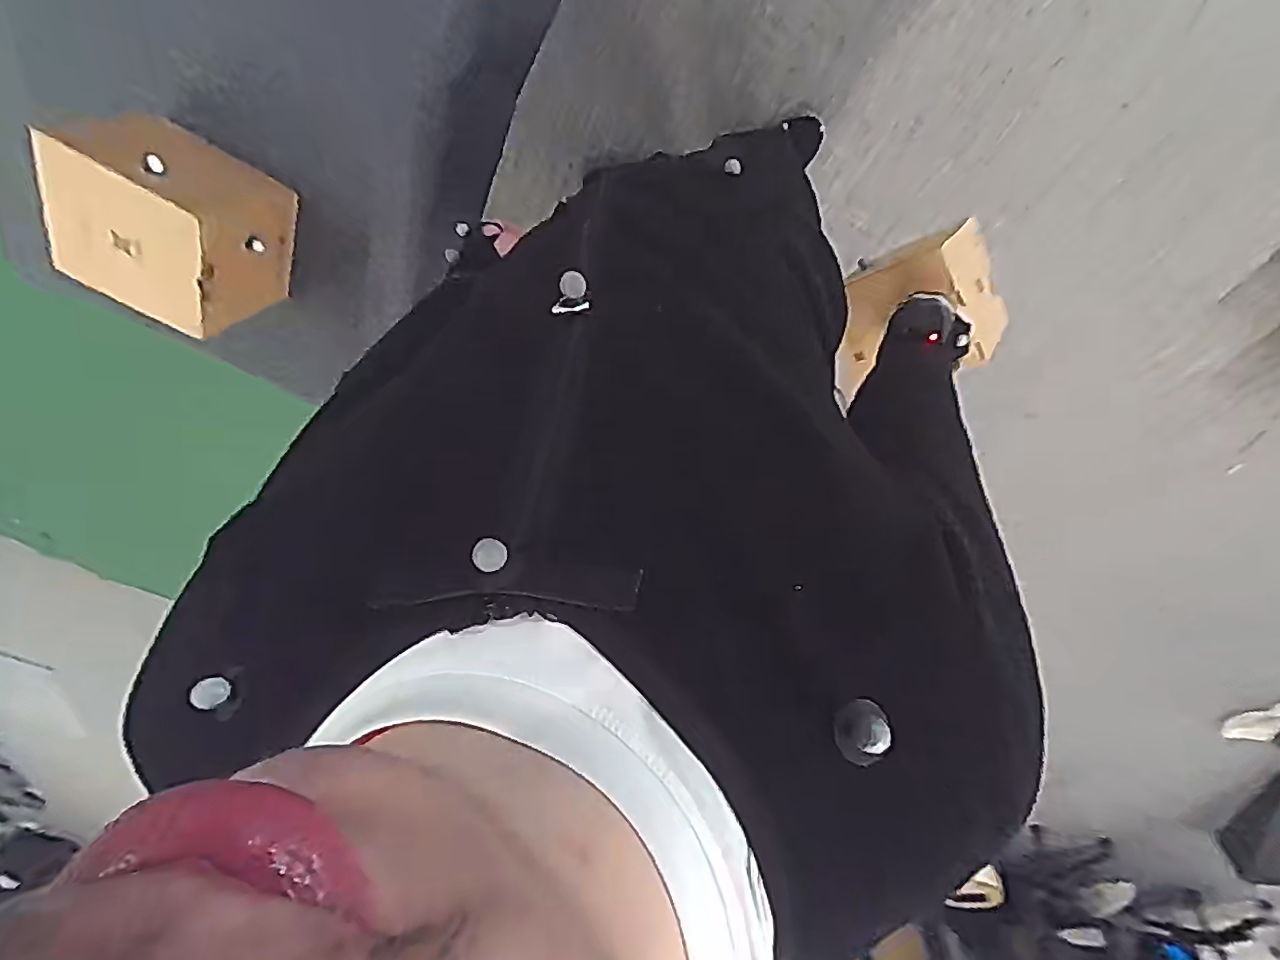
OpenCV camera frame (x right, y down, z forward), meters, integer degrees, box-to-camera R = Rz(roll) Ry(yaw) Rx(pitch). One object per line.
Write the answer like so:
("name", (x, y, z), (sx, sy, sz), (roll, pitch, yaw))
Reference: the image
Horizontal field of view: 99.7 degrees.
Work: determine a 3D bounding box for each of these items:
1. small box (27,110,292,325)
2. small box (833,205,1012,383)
("small box", (-0.574, -0.332, 0.673), (0.179, 0.176, 0.168), (28, 125, -11))
("small box", (0.405, -0.262, 0.787), (0.176, 0.179, 0.168), (-10, 115, 49))
